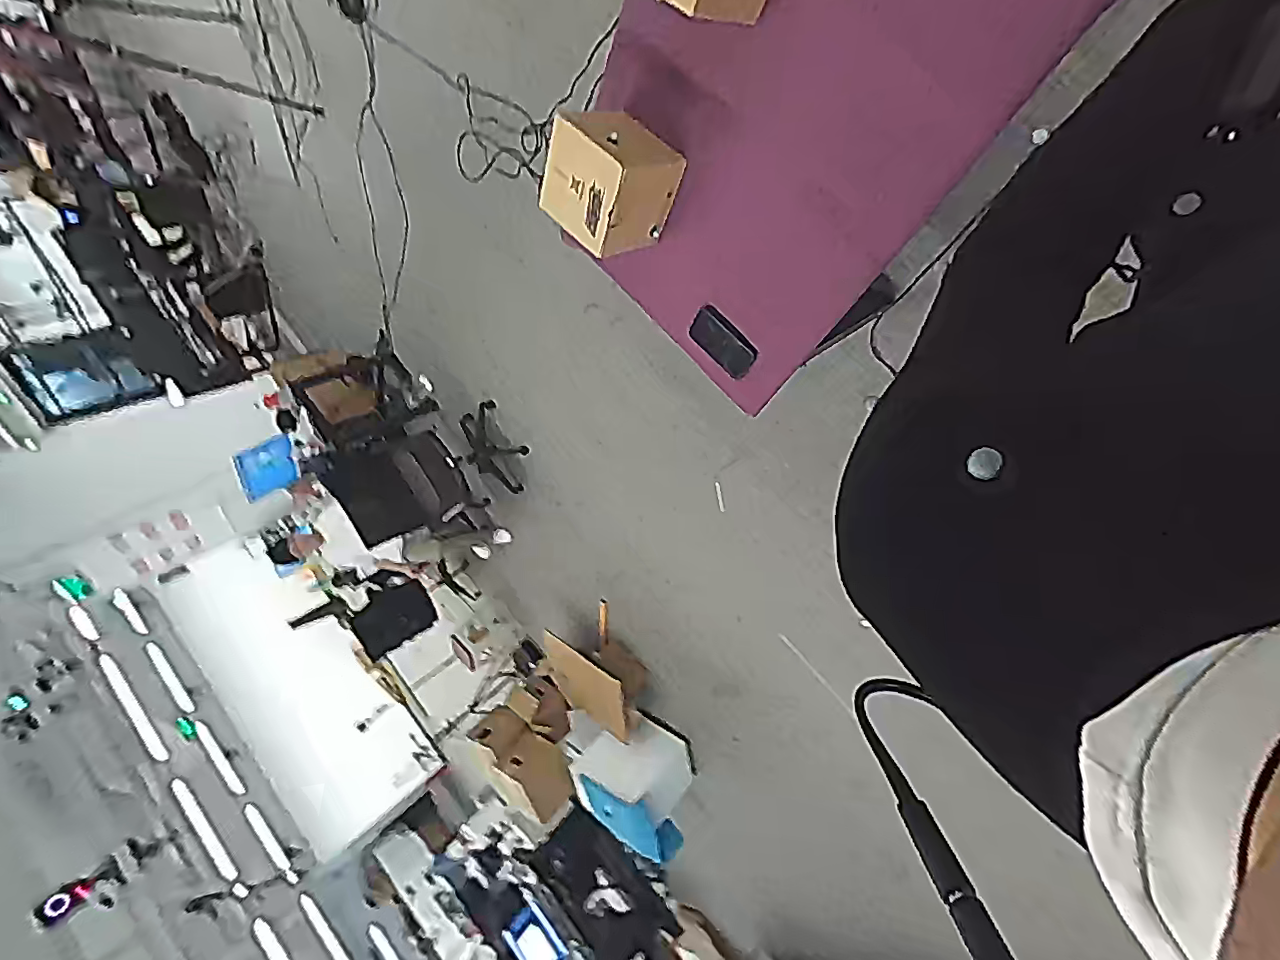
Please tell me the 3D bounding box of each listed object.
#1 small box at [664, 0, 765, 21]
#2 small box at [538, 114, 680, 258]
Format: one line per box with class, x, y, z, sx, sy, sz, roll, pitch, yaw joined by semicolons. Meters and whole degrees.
small box;0.083;-0.737;0.706;0.179;0.176;0.168;45;141;14
small box;-0.056;-0.541;0.988;0.179;0.176;0.168;46;140;15
